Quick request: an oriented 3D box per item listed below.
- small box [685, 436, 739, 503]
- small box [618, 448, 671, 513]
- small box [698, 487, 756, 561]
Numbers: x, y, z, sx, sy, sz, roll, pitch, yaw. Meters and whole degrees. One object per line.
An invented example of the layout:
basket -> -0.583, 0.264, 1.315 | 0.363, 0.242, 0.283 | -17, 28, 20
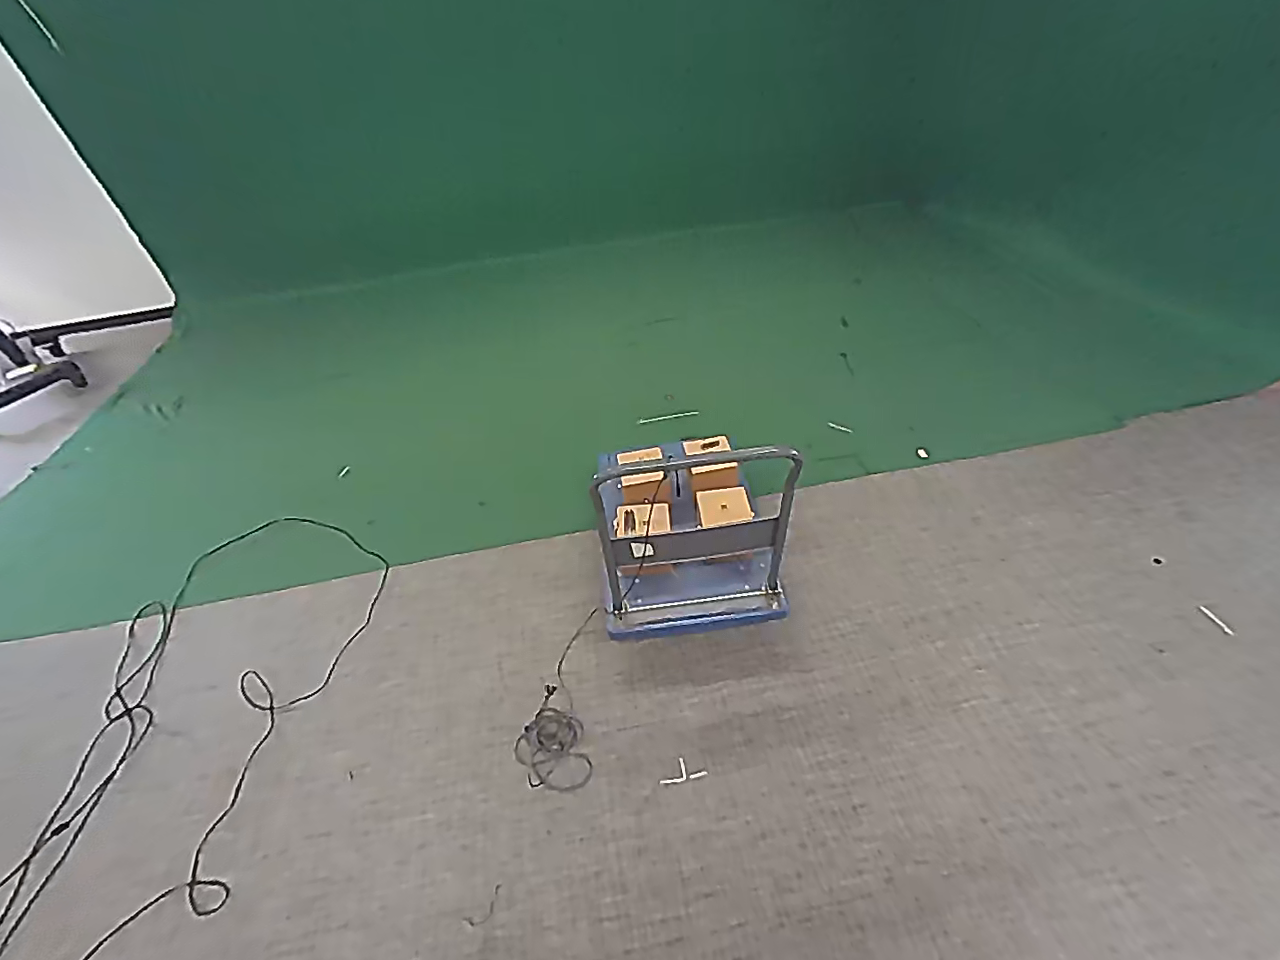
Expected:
small box -> 0.265, -0.036, 2.027 | 0.168, 0.176, 0.179 | -10, 45, -2
small box -> 0.018, 0.009, 2.016 | 0.168, 0.176, 0.179 | -10, 44, -3
small box -> 0.289, 0.150, 1.832 | 0.168, 0.176, 0.179 | -7, 44, 1
